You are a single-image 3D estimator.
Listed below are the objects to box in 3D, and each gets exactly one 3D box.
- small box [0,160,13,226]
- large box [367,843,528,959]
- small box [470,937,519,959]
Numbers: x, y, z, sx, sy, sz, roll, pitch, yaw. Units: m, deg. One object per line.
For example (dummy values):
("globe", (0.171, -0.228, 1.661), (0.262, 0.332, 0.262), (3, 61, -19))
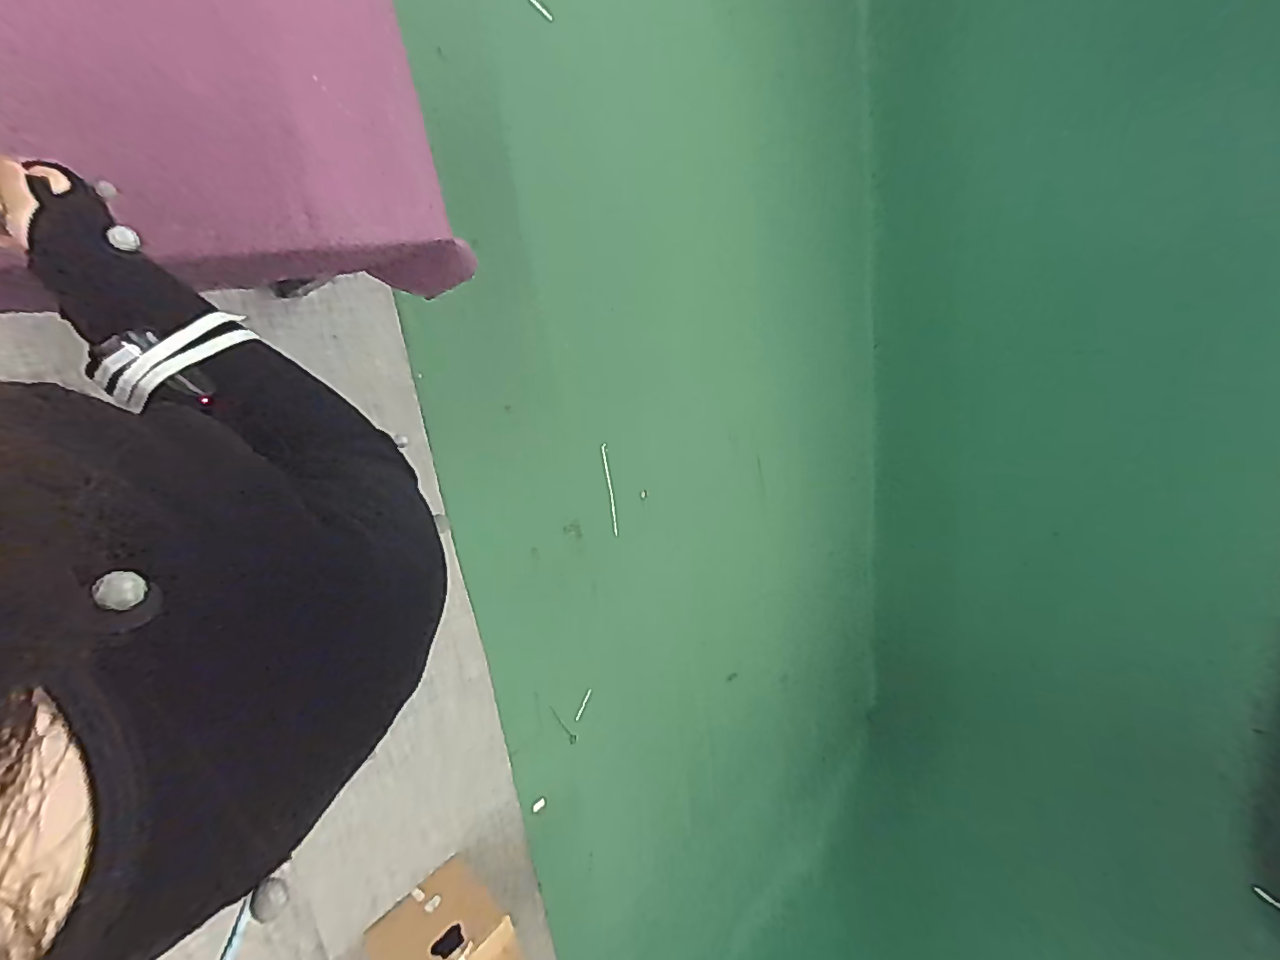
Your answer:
("small box", (-0.488, -0.231, 0.286), (0.179, 0.176, 0.168), (-21, 115, -40))
("large box", (-0.573, 1.446, 1.655), (0.320, 0.320, 0.408), (-25, 115, -41))
("small box", (-0.400, 1.423, 1.476), (0.168, 0.176, 0.179), (-11, 104, -46))
